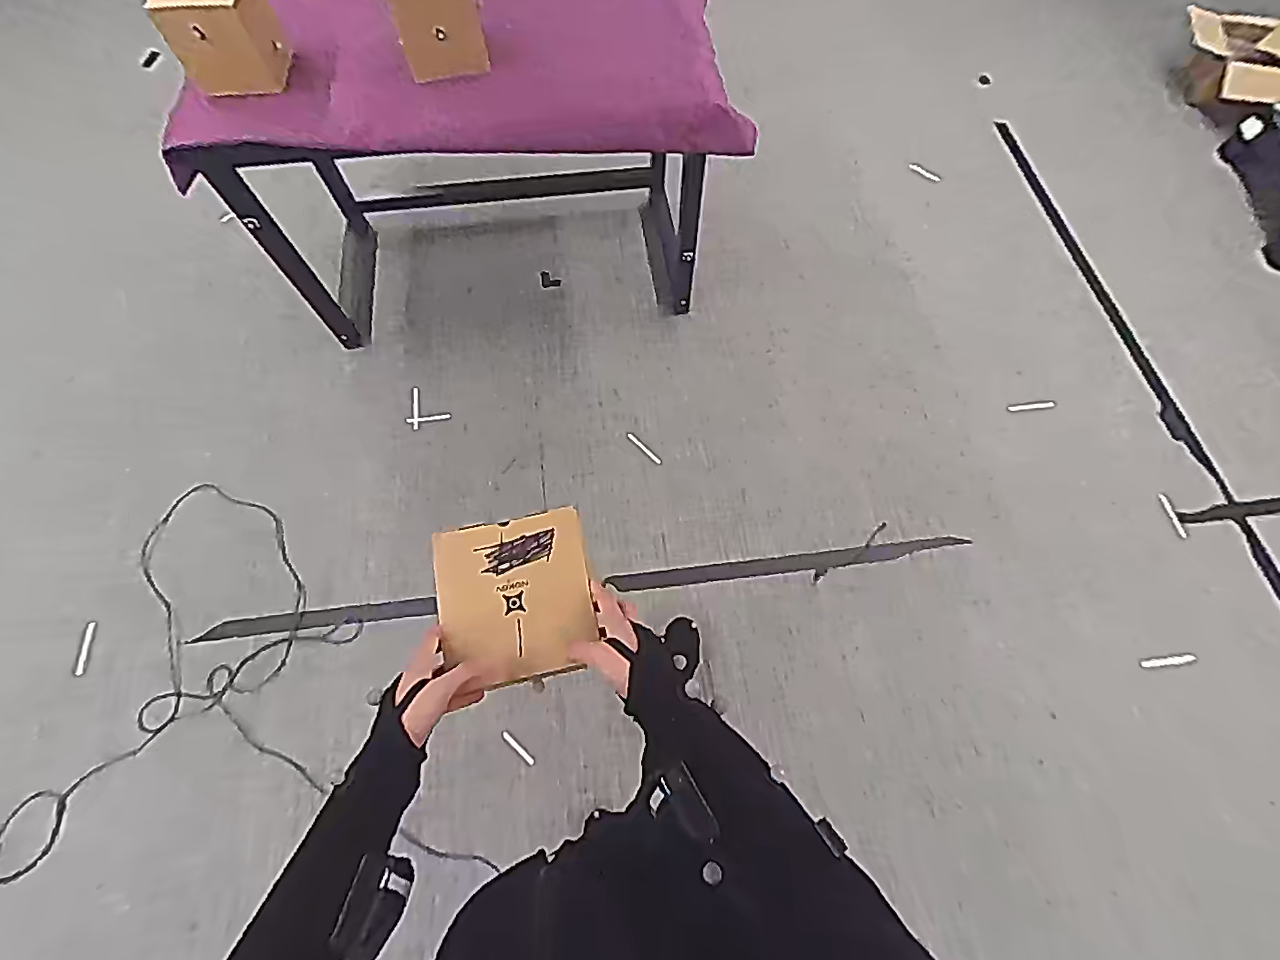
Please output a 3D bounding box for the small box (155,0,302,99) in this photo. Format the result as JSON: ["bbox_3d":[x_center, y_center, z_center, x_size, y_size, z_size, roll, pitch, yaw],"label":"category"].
[{"bbox_3d":[-0.886,-0.968,1.183,0.179,0.176,0.168,-4,66,-3],"label":"small box"}]

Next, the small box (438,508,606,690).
[{"bbox_3d":[-0.137,0.152,0.667,0.168,0.176,0.179,-11,71,-6],"label":"small box"}]
